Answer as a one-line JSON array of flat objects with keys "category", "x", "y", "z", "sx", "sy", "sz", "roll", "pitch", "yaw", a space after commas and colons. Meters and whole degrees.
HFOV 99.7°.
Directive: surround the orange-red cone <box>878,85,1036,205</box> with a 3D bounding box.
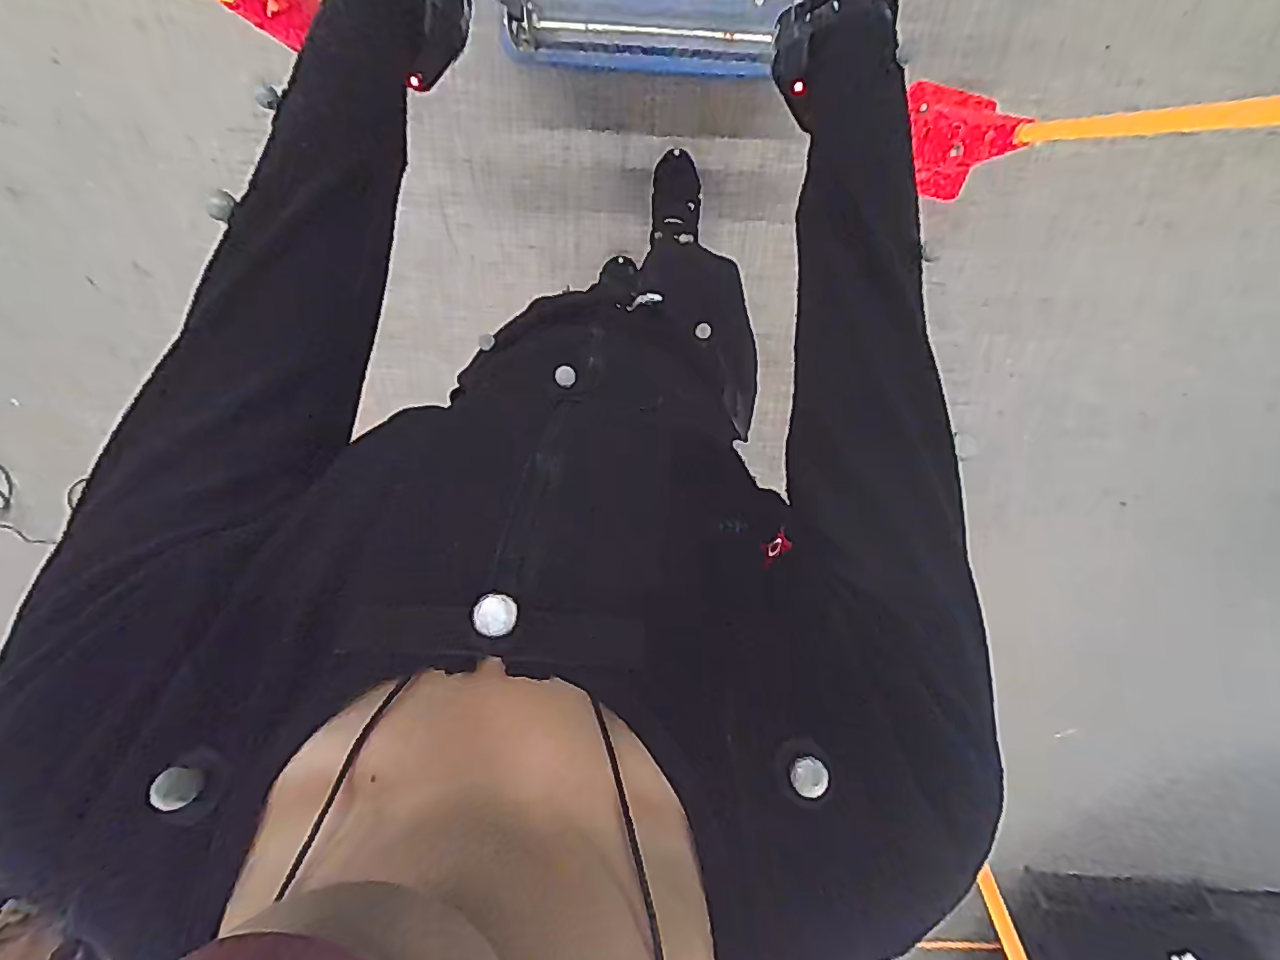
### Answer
[{"category": "orange-red cone", "x": 0.643, "y": -0.650, "z": 1.042, "sx": 0.198, "sy": 0.360, "sz": 0.199, "roll": 13, "pitch": 119, "yaw": -4}]
